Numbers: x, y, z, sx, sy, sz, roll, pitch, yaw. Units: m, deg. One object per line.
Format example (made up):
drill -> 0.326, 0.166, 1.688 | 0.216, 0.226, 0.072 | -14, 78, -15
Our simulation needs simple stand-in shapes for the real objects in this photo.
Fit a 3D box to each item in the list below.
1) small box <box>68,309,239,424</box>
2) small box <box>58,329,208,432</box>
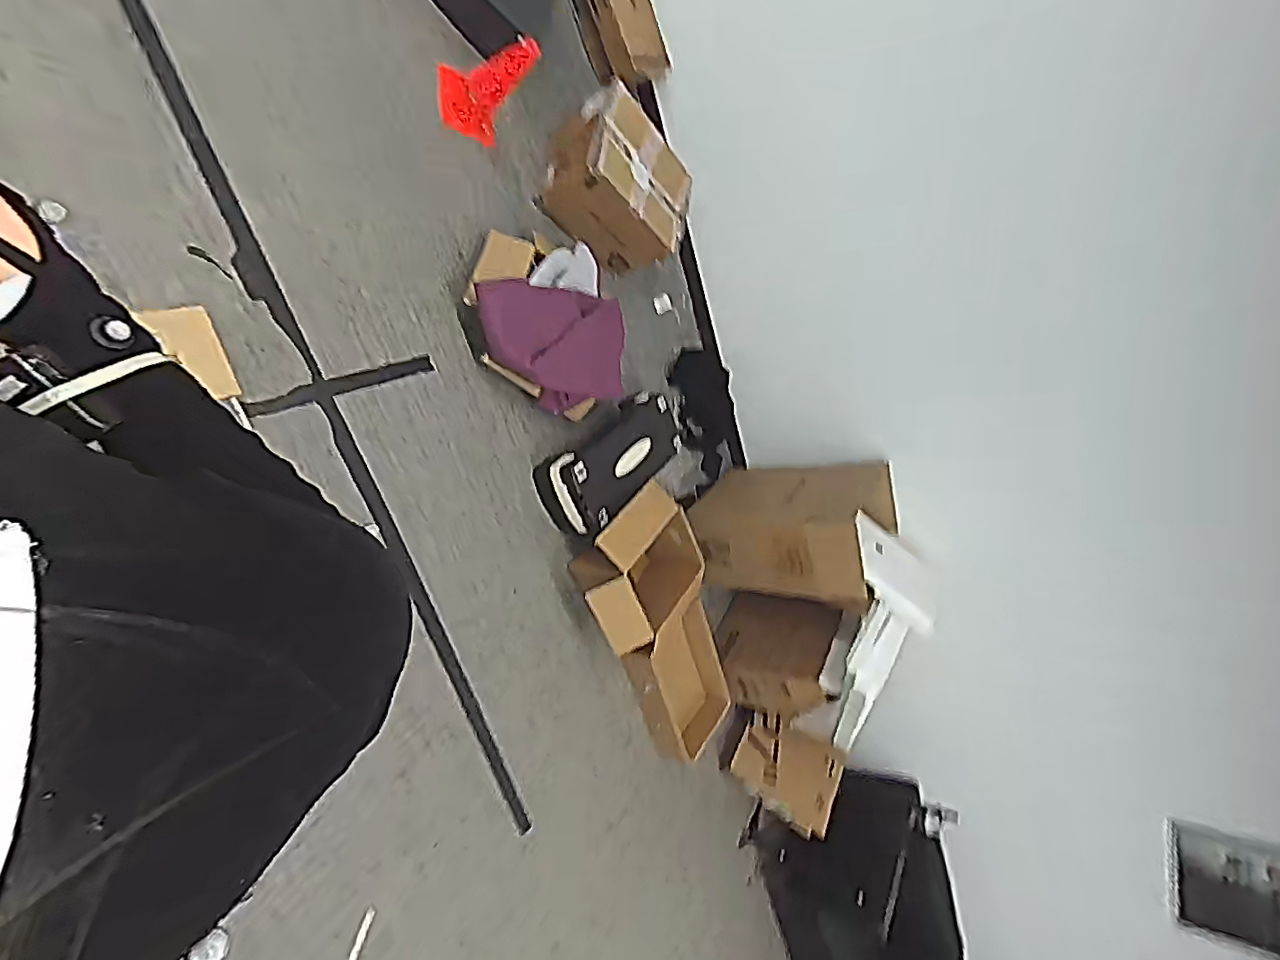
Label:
small box -> -0.887, -0.206, 0.988 | 0.179, 0.176, 0.168 | -29, 110, -47
small box -> -1.019, -0.205, 1.087 | 0.168, 0.176, 0.179 | -29, 111, -47
